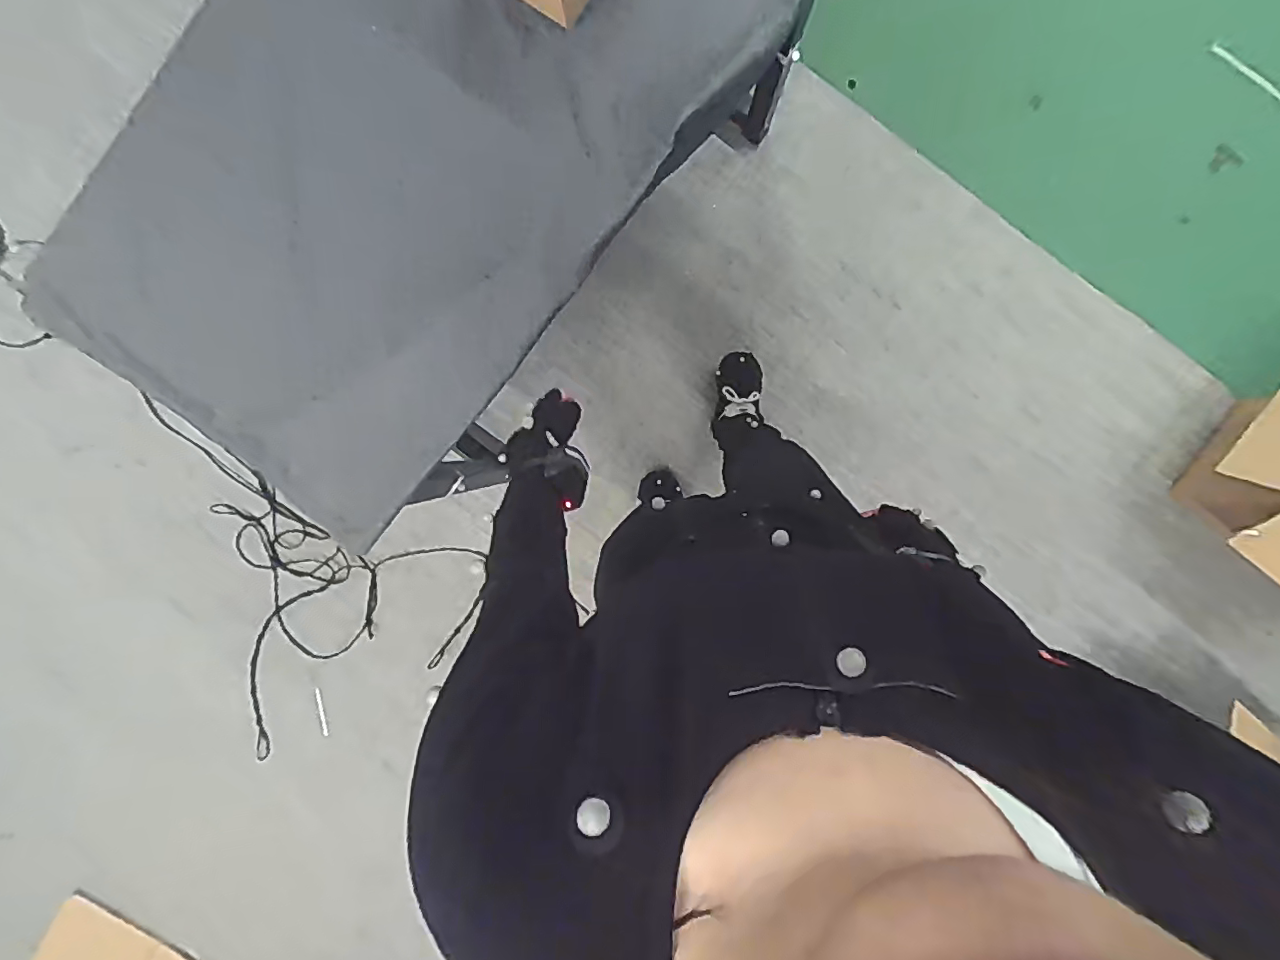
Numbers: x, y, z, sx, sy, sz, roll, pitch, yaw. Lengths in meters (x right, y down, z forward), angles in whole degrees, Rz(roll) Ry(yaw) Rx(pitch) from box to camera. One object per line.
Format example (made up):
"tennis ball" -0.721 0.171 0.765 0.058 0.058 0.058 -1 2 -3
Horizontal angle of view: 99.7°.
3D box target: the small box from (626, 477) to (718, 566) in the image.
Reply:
"small box" 0.080 0.105 1.430 0.179 0.176 0.168 28 105 19

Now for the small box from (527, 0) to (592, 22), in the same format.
"small box" -0.120 -0.716 0.646 0.179 0.176 0.168 35 94 0
